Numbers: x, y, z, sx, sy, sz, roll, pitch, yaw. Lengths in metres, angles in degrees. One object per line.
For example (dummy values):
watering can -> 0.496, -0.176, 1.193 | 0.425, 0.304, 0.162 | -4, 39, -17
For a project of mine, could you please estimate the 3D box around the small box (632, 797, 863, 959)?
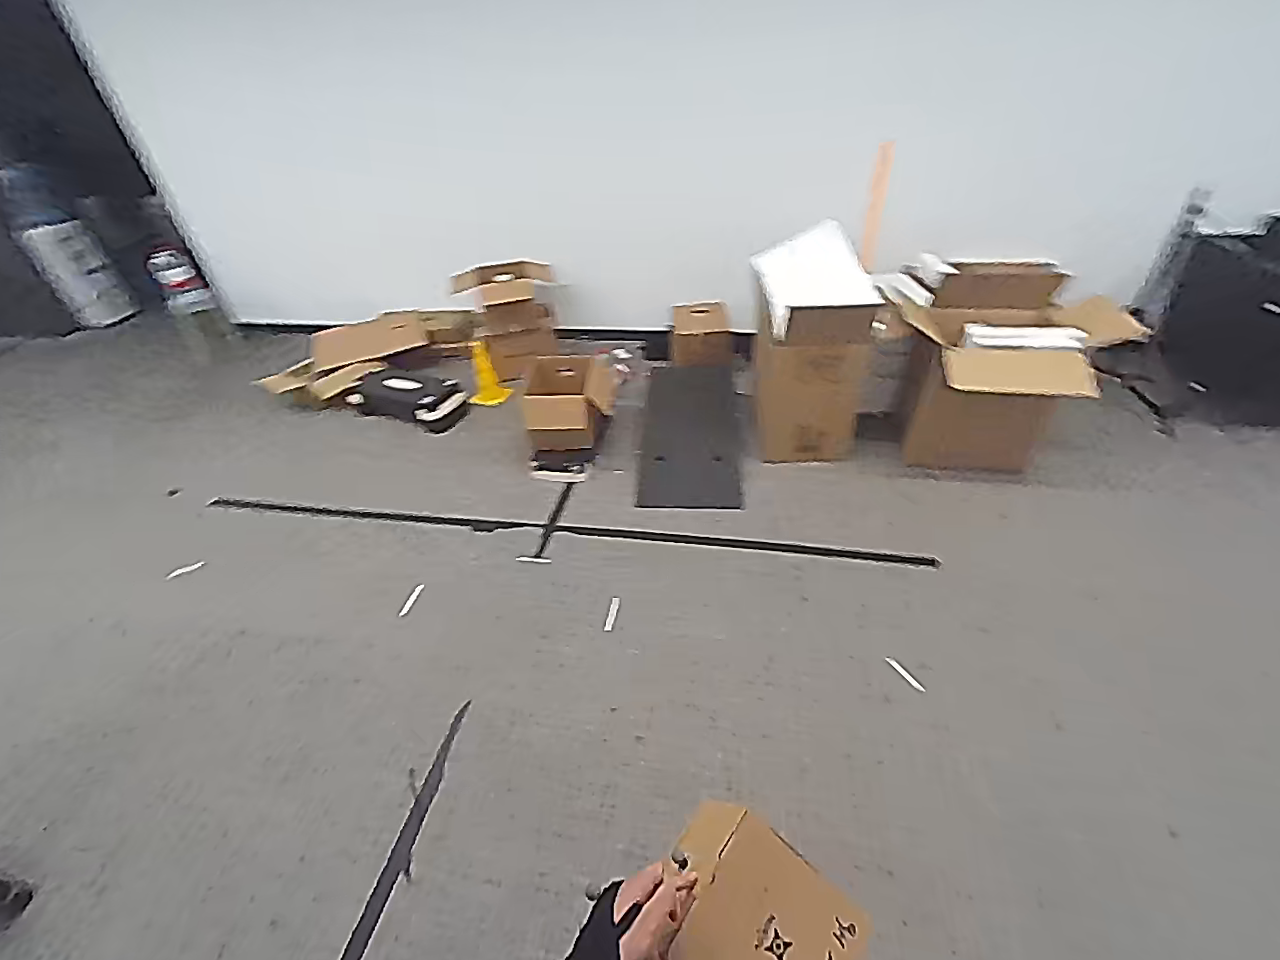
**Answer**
small box -> 0.112, 0.505, 0.629 | 0.179, 0.176, 0.168 | 39, 60, 10
